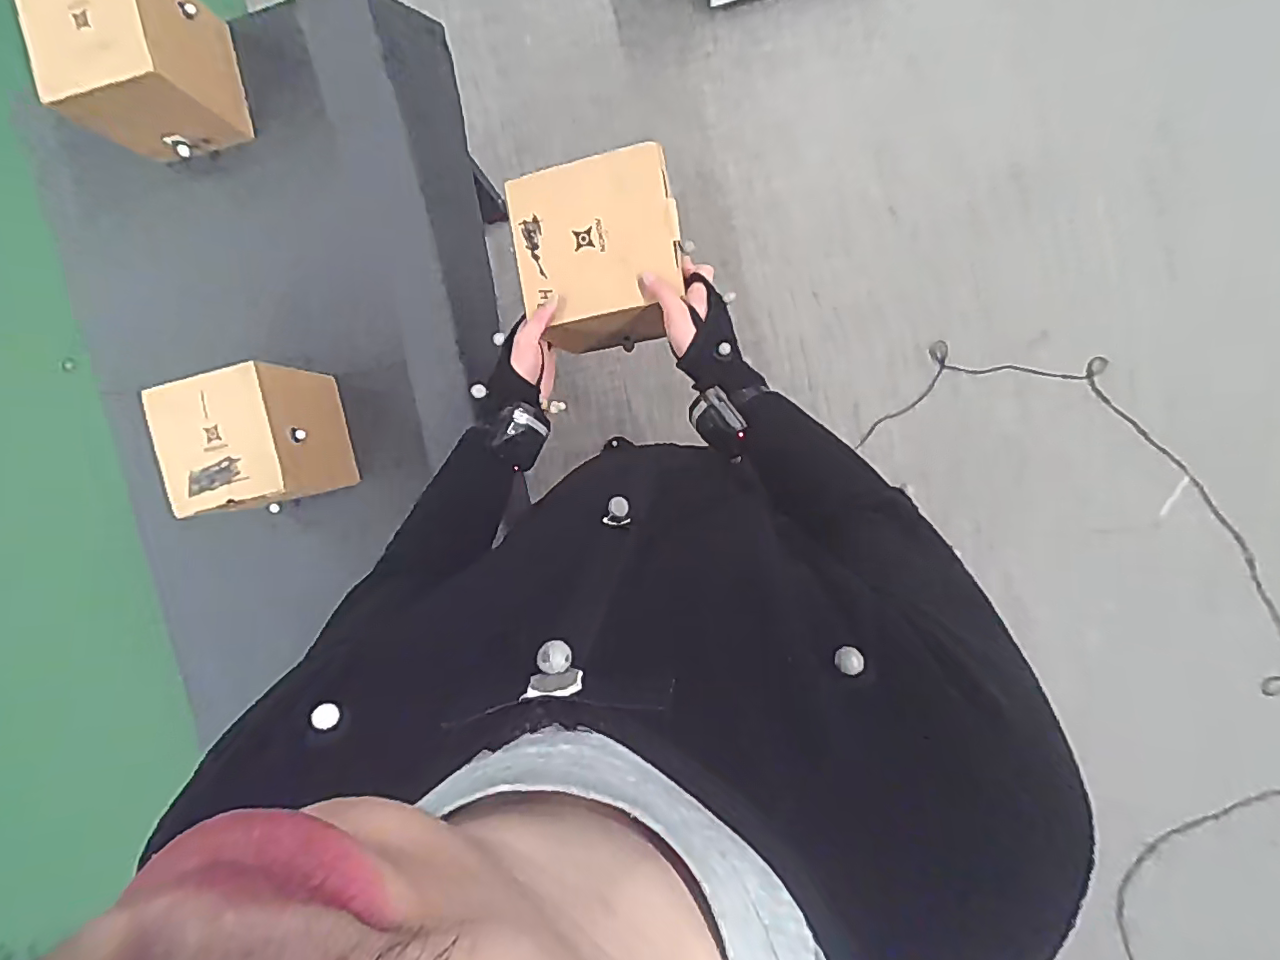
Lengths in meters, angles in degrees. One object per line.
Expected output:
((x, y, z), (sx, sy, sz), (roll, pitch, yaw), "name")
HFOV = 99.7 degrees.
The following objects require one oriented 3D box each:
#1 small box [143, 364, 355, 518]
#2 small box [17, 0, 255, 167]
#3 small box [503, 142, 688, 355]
((-0.548, -0.055, 0.784), (0.168, 0.176, 0.179), (-13, 91, 5), "small box")
((-0.695, -0.585, 0.762), (0.168, 0.176, 0.179), (-12, 94, 6), "small box")
((-0.039, -0.258, 0.647), (0.179, 0.176, 0.168), (-9, 90, 10), "small box")
